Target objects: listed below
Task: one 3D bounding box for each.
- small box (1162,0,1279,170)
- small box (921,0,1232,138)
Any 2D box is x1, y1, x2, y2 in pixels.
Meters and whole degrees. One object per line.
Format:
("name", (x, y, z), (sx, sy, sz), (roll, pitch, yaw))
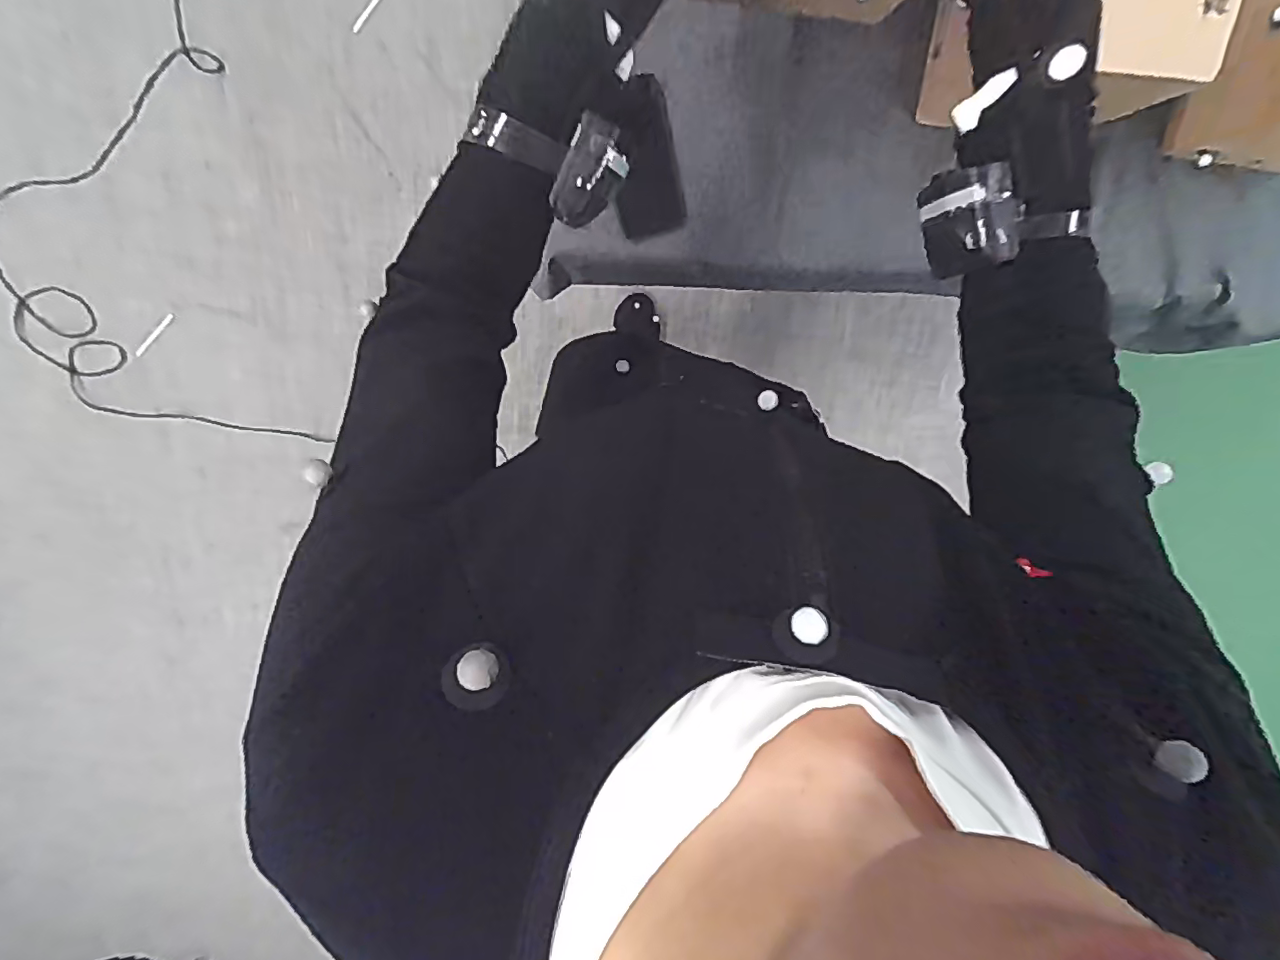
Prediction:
("small box", (0.687, -0.426, 0.534), (0.168, 0.176, 0.179), (4, 107, -5))
("small box", (0.402, -0.445, 0.513), (0.179, 0.176, 0.168), (3, 108, -3))
